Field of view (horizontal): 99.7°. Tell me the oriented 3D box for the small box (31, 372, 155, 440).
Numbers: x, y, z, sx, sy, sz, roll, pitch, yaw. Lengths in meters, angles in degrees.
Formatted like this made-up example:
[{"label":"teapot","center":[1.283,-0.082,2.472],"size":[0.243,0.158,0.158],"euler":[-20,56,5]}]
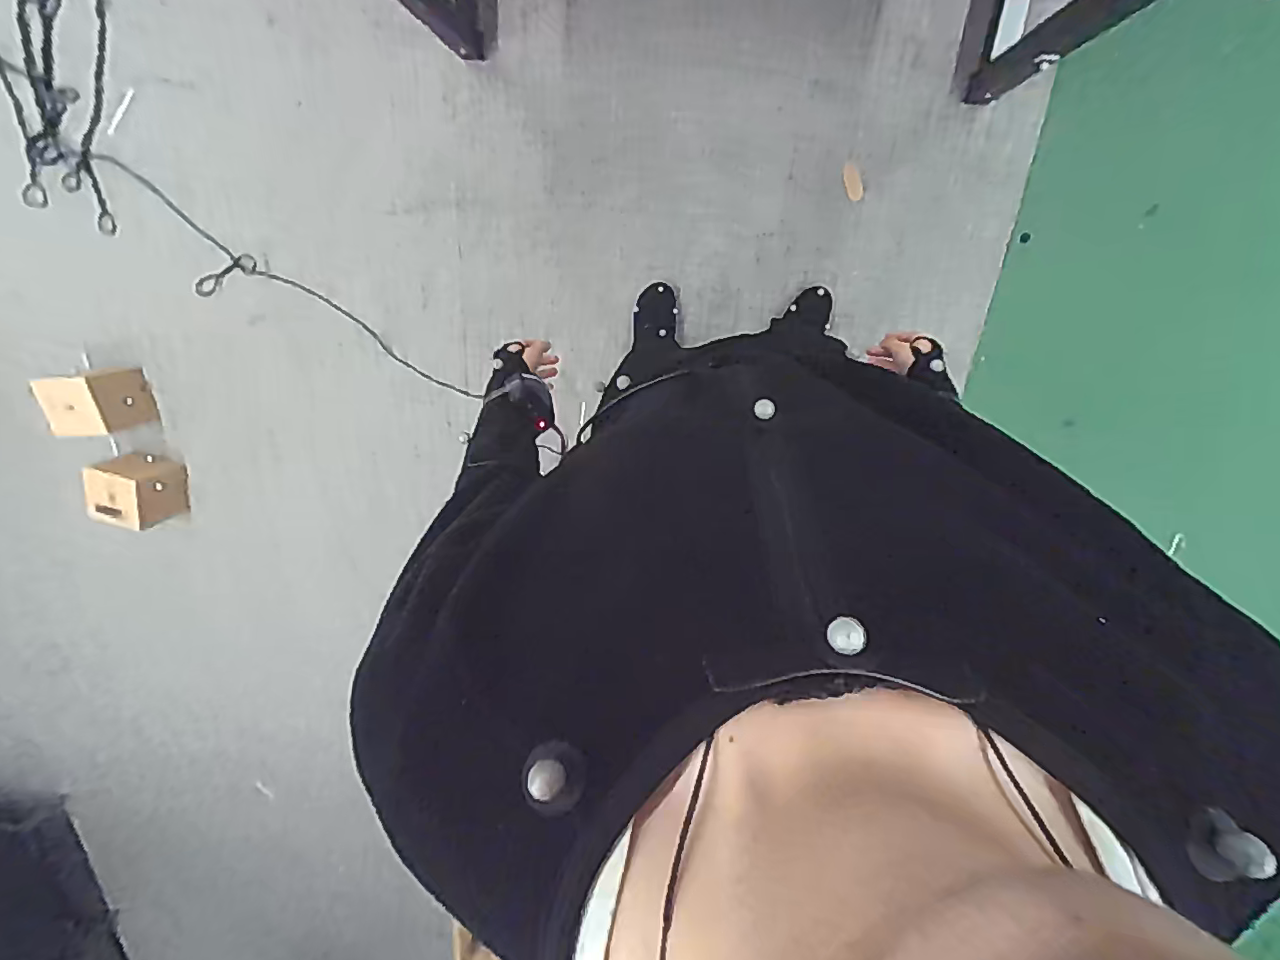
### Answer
[{"label":"small box","center":[-1.572,-0.219,1.574],"size":[0.179,0.176,0.168],"euler":[-1,110,7]}]
